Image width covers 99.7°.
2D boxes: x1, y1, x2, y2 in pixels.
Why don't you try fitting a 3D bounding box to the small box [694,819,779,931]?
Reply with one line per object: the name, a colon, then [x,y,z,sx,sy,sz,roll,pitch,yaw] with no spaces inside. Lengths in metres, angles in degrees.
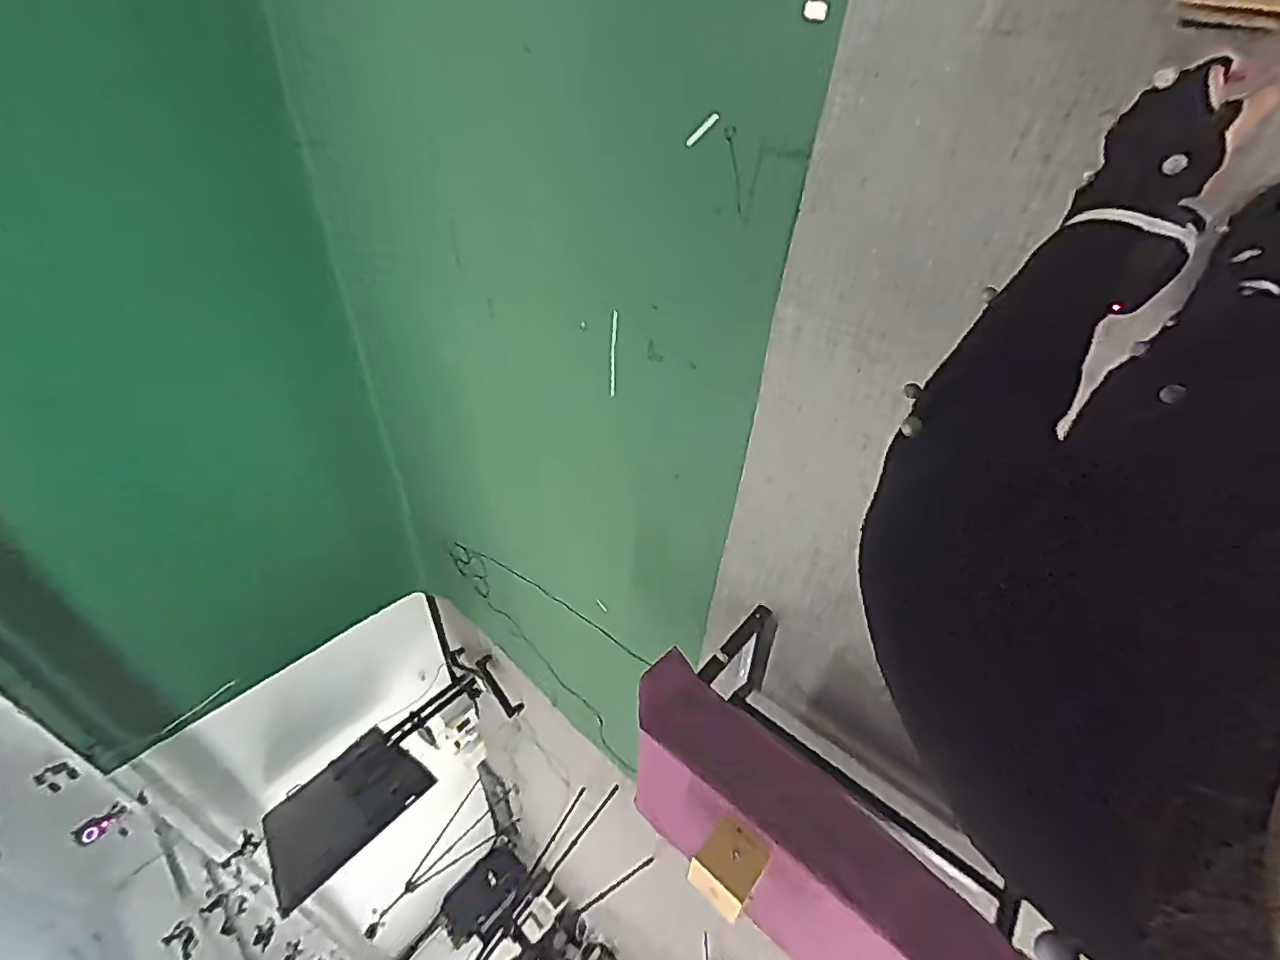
small box: [0.275,1.119,1.541,0.168,0.176,0.179,30,135,31]
